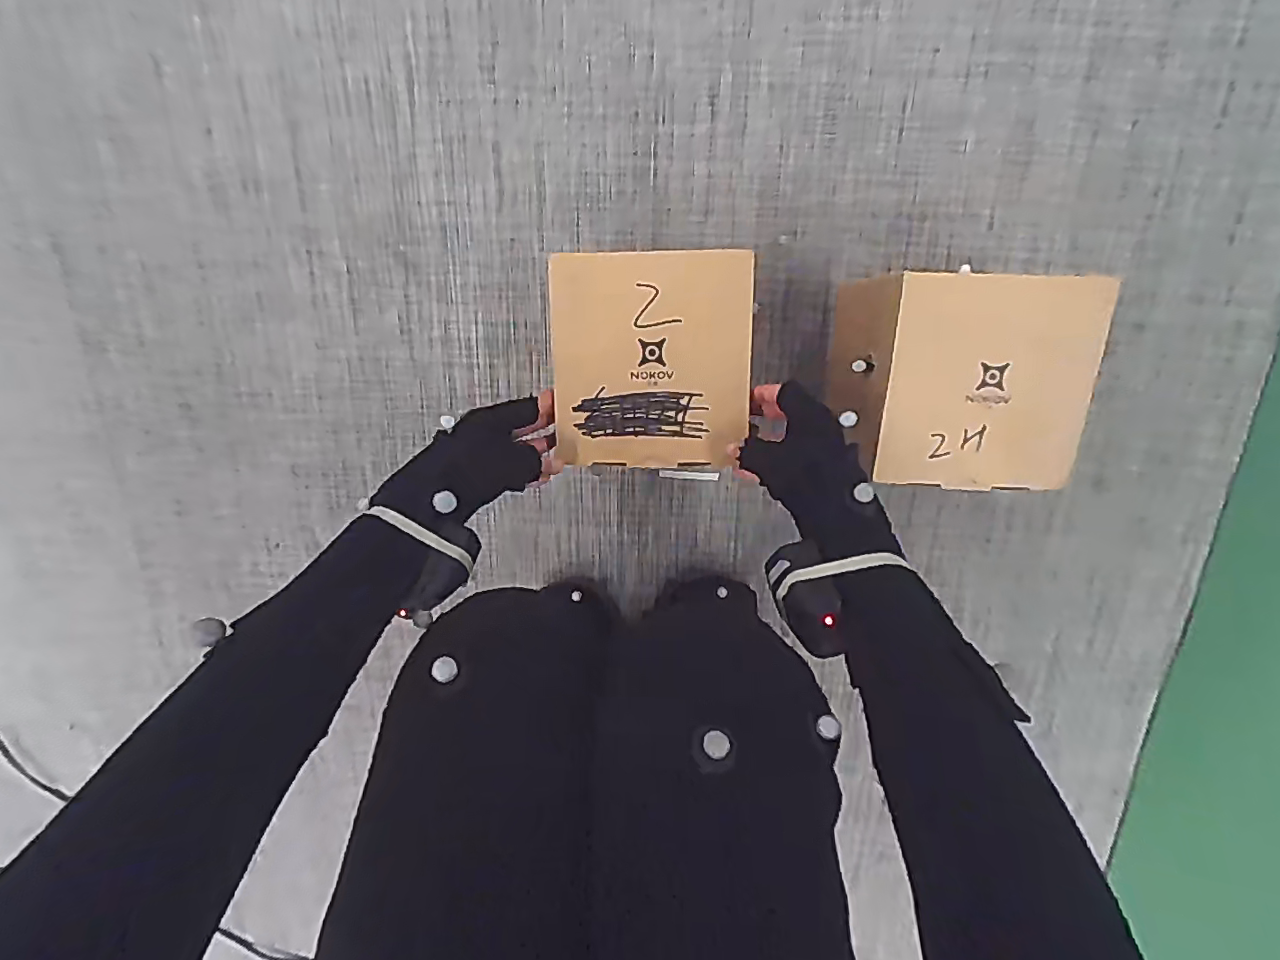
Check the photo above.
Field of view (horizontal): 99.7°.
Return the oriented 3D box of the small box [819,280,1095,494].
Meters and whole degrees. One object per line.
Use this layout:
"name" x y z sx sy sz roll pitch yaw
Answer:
"small box" 0.285 -0.096 0.535 0.168 0.176 0.179 3 106 4
